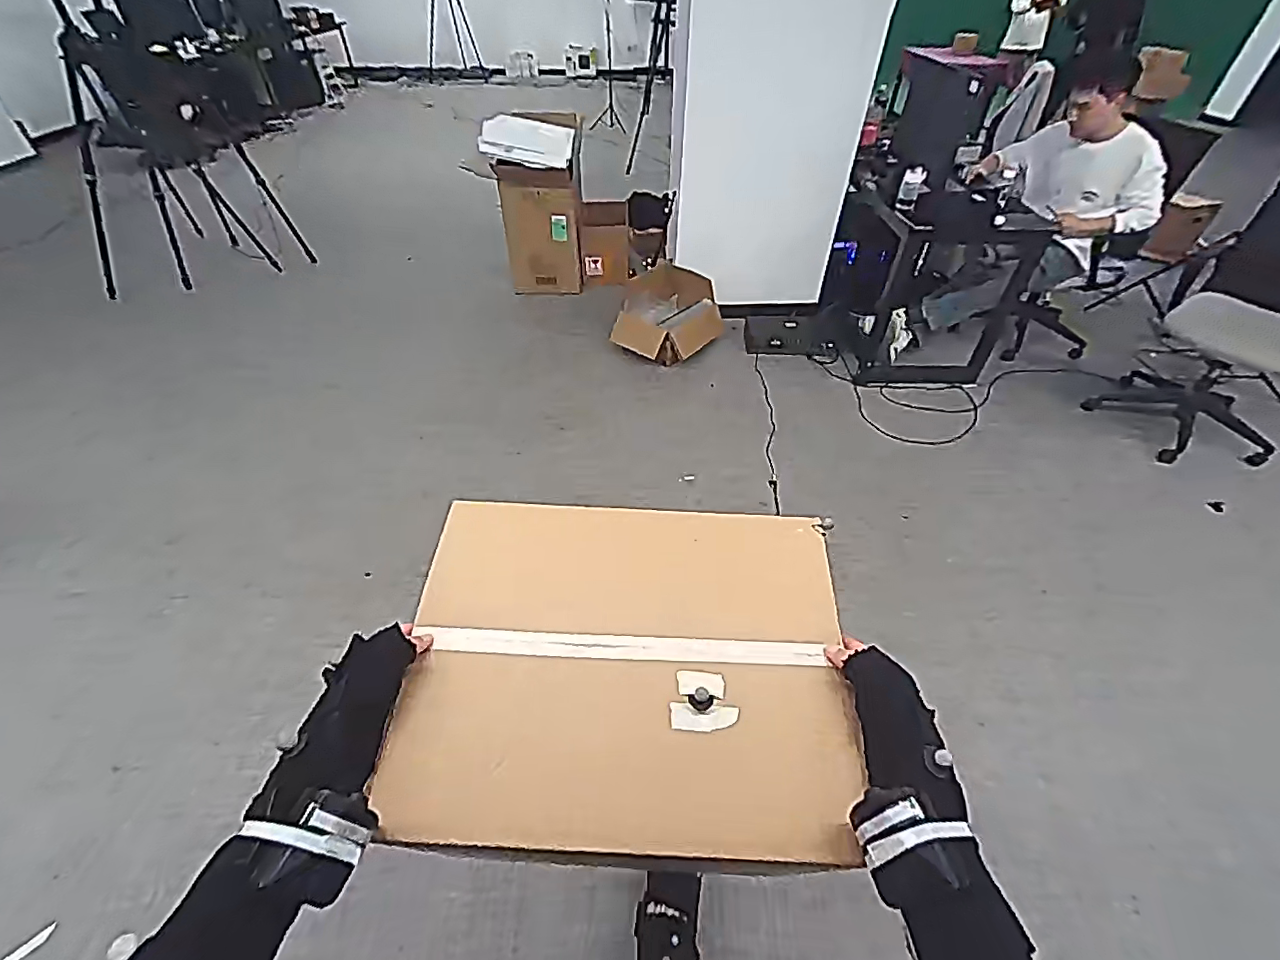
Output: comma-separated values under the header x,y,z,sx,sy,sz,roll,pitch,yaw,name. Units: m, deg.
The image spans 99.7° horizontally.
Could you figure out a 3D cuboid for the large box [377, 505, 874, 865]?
x,y,z,sx,sy,sz,roll,pitch,yaw,name
-0.013,0.248,0.631,0.408,0.320,0.320,3,53,0,large box
